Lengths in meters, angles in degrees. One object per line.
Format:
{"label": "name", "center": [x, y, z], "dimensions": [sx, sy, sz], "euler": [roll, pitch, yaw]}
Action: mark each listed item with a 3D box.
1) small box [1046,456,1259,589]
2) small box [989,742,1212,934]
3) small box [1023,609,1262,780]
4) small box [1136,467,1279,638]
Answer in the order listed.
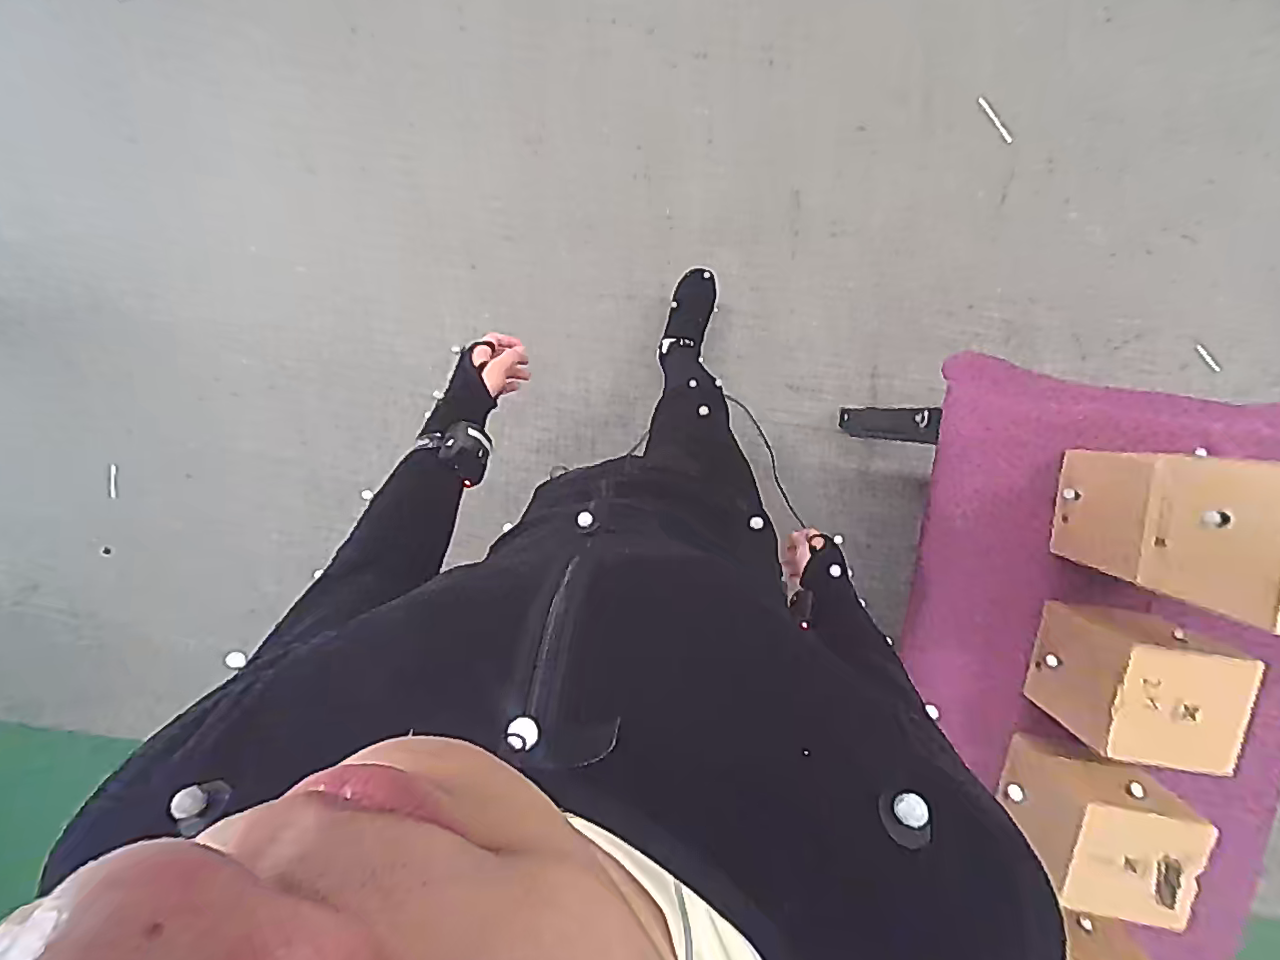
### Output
{"label": "small box", "center": [0.733, 0.056, 0.769], "dimensions": [0.179, 0.176, 0.168], "euler": [3, 97, 3]}
{"label": "small box", "center": [0.687, 0.534, 0.830], "dimensions": [0.179, 0.176, 0.168], "euler": [10, 97, 2]}
{"label": "small box", "center": [0.722, 0.304, 0.799], "dimensions": [0.179, 0.176, 0.168], "euler": [8, 97, 2]}
{"label": "small box", "center": [0.721, 0.075, 0.609], "dimensions": [0.179, 0.176, 0.168], "euler": [3, 96, 2]}
